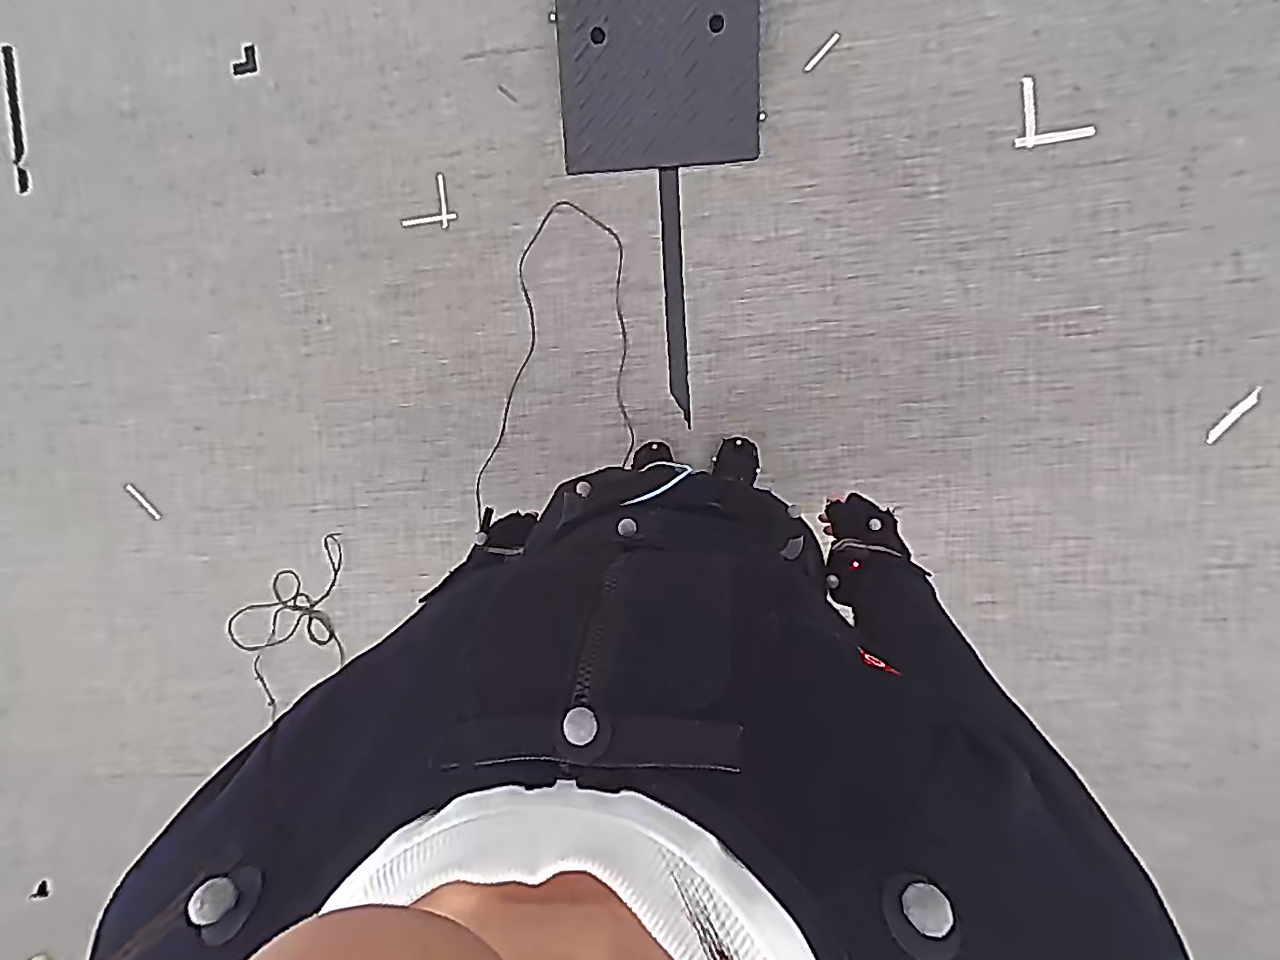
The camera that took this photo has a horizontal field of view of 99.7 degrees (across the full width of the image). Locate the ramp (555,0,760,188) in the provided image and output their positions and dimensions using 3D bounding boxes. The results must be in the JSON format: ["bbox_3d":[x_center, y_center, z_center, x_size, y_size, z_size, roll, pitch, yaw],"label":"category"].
[{"bbox_3d":[0.030,-1.263,1.285,0.509,0.206,0.991,-4,94,6],"label":"ramp"}]
